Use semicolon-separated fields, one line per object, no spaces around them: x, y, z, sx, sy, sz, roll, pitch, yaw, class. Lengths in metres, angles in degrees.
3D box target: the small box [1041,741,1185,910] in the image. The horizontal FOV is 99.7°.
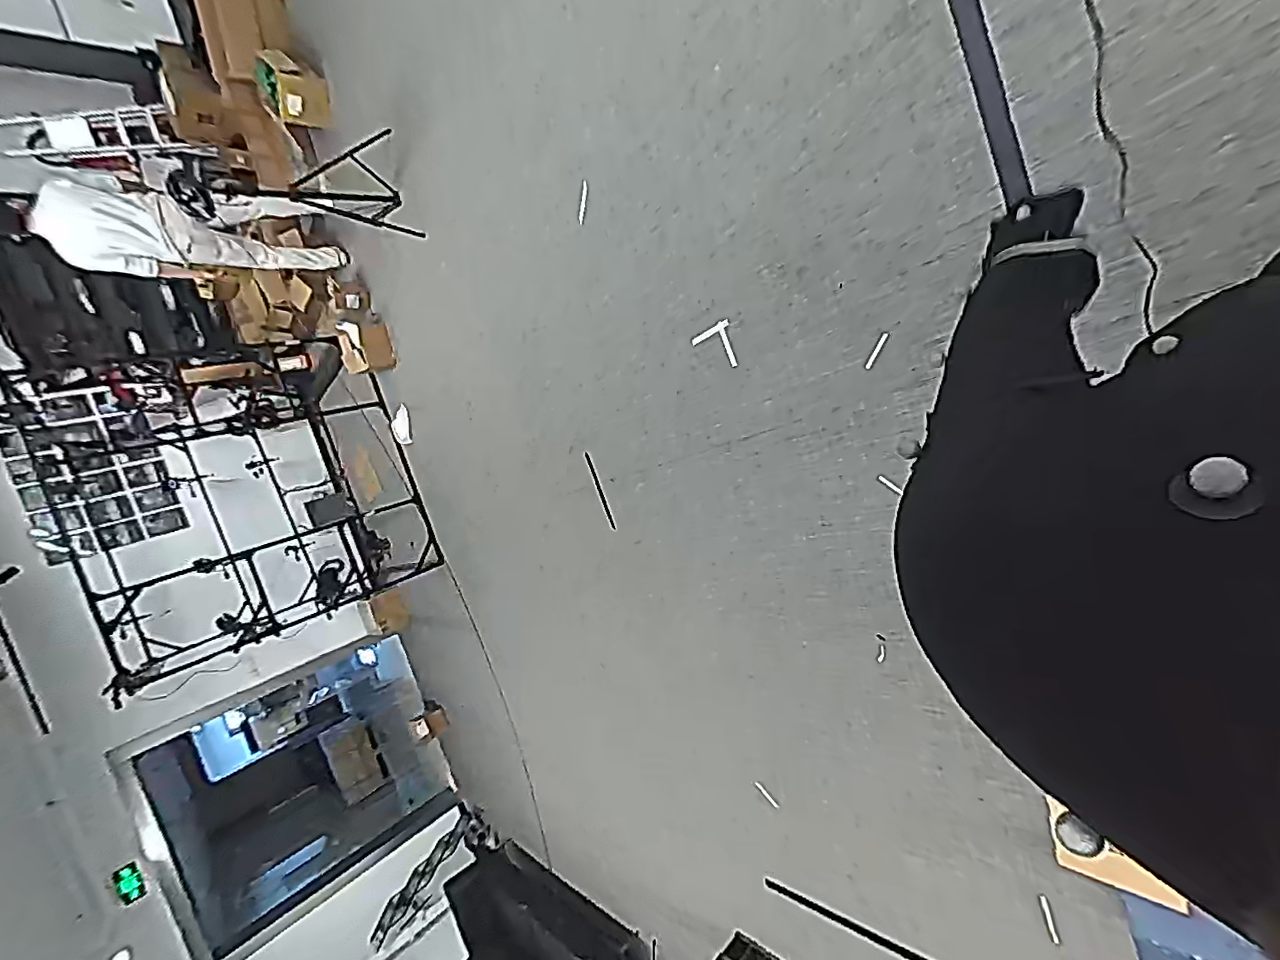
0.872;0.615;0.993;0.179;0.176;0.168;-5;103;50;small box
